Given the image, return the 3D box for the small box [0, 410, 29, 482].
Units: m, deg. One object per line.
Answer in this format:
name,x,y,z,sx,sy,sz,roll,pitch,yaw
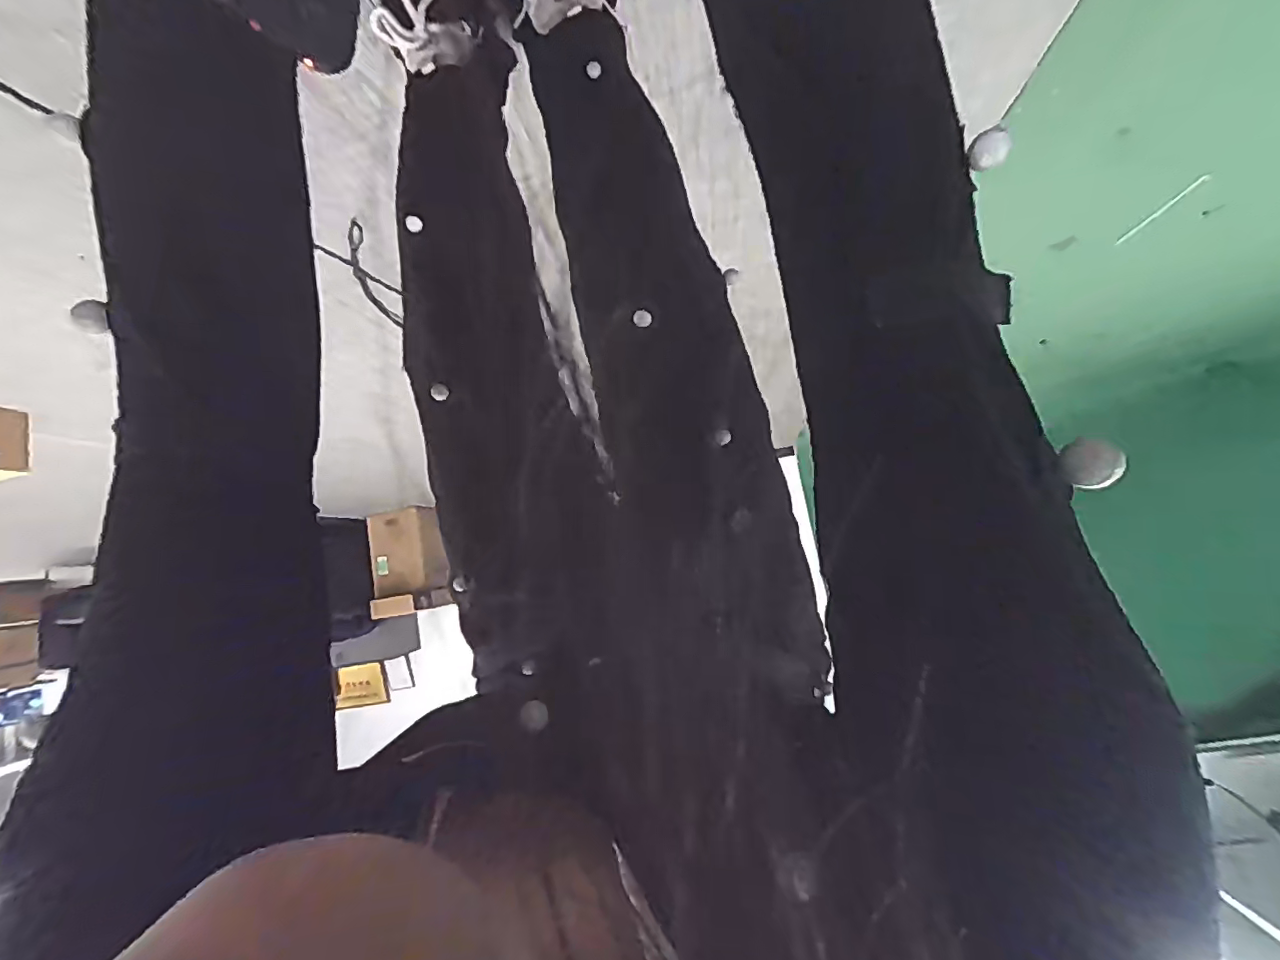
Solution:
small box,-1.676,-0.087,1.325,0.168,0.176,0.179,-12,173,9
